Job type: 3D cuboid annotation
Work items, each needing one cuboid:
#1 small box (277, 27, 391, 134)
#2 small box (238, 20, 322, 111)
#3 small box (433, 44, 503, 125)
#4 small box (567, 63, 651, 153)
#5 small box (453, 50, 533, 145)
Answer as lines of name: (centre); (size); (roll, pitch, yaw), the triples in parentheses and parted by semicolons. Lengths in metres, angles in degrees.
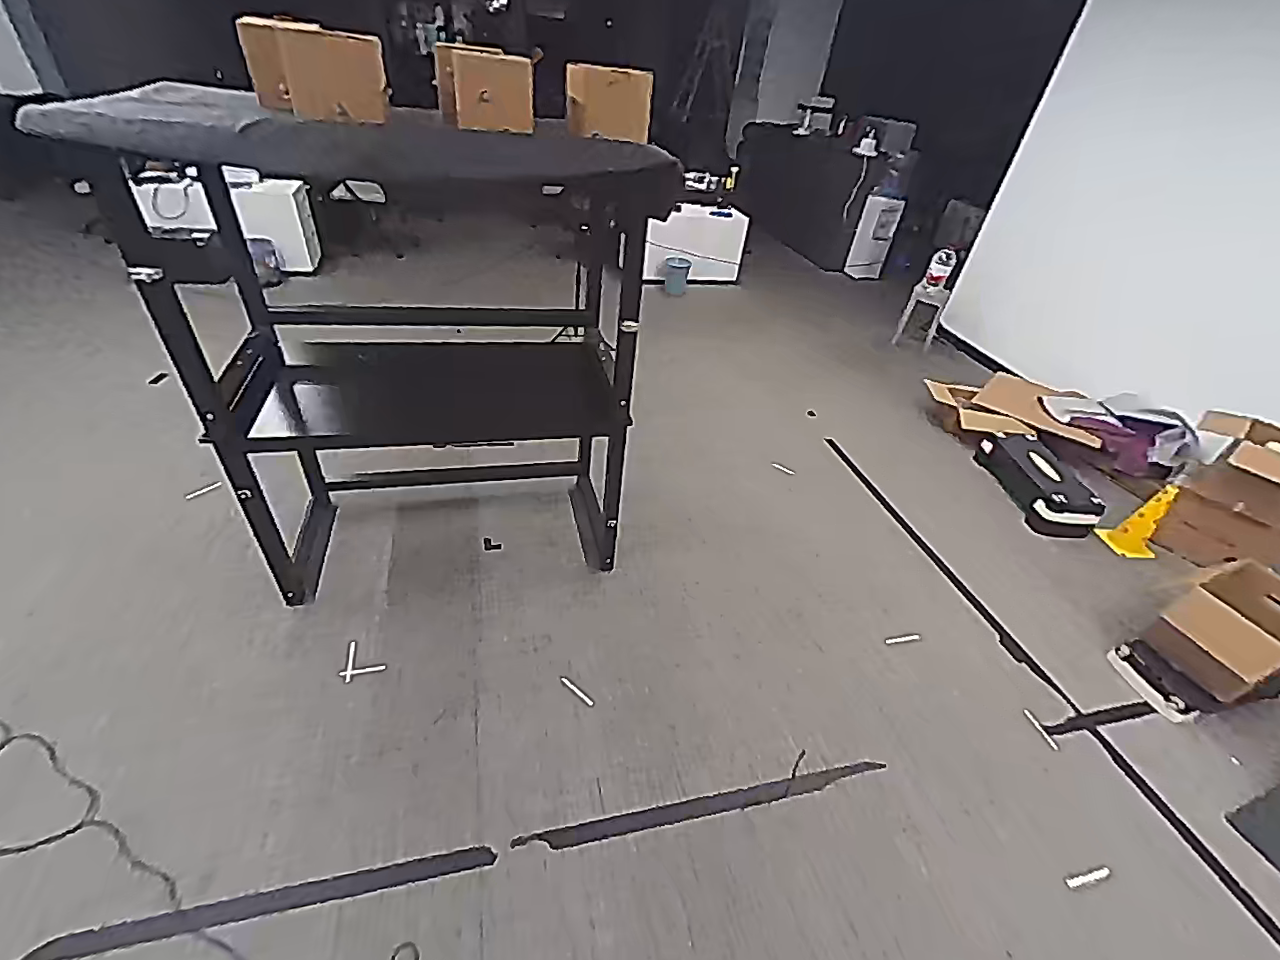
small box: (-0.652, -0.865, 1.179); (0.179, 0.176, 0.168); (-4, 38, -16)
small box: (-0.874, -1.035, 1.360); (0.168, 0.176, 0.179); (-10, 41, -19)
small box: (-0.462, -1.082, 1.488); (0.179, 0.176, 0.168); (-4, 40, -15)
small box: (-0.083, -0.927, 1.351); (0.168, 0.176, 0.179); (-8, 39, -19)
small box: (-0.349, -0.908, 1.287); (0.168, 0.176, 0.179); (-6, 39, -16)
